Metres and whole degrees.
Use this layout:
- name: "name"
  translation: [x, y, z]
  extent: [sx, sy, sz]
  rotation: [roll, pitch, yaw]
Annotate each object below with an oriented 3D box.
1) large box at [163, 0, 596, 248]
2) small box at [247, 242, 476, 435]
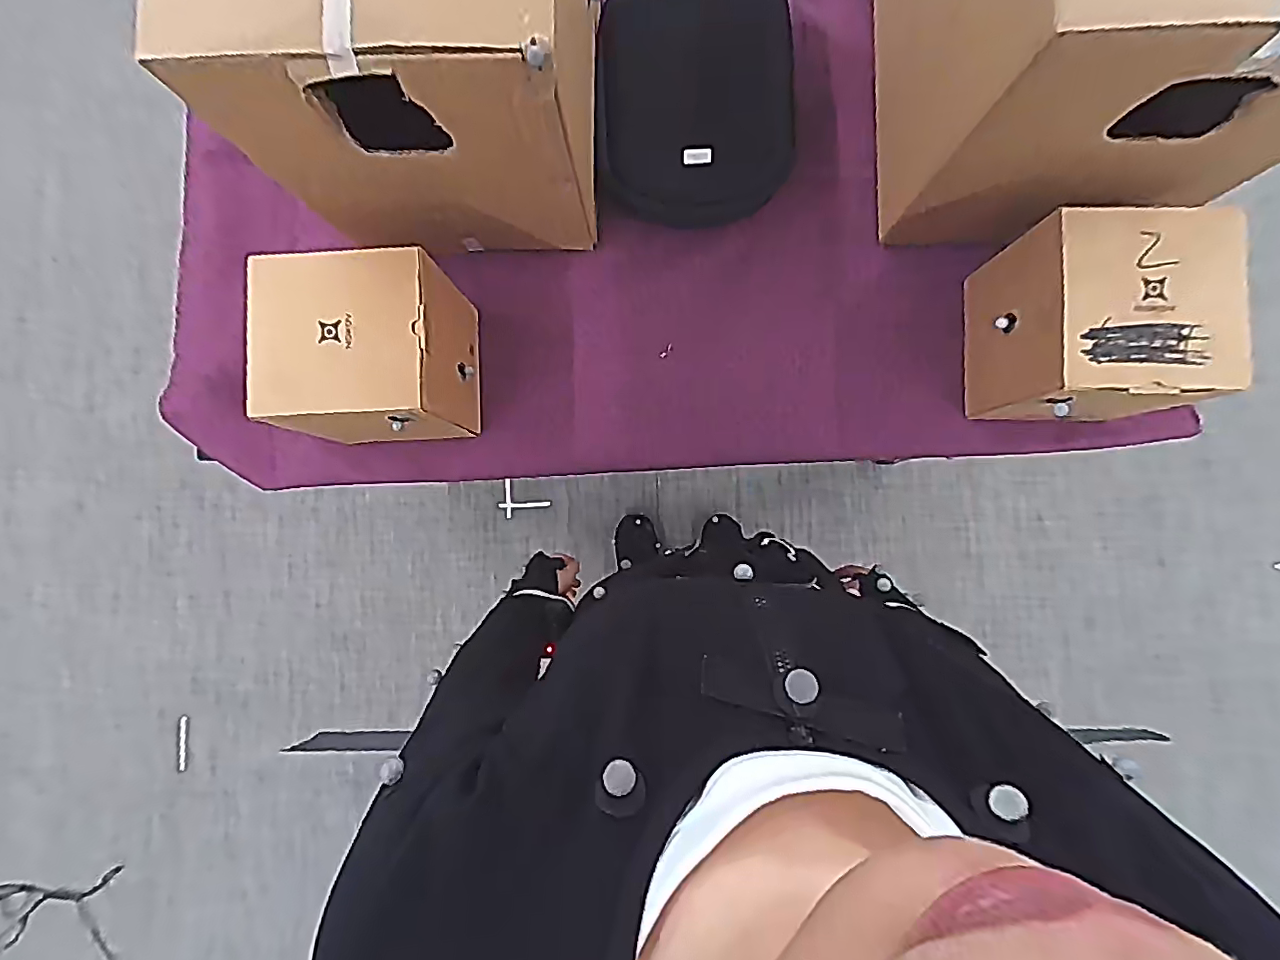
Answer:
- name: "large box"
  translation: [-0.214, -0.504, 0.560]
  extent: [0.320, 0.320, 0.408]
  rotation: [0, 90, 3]
- name: "small box"
  translation: [-0.302, -0.147, 0.616]
  extent: [0.179, 0.176, 0.168]
  rotation: [-3, 86, 1]
